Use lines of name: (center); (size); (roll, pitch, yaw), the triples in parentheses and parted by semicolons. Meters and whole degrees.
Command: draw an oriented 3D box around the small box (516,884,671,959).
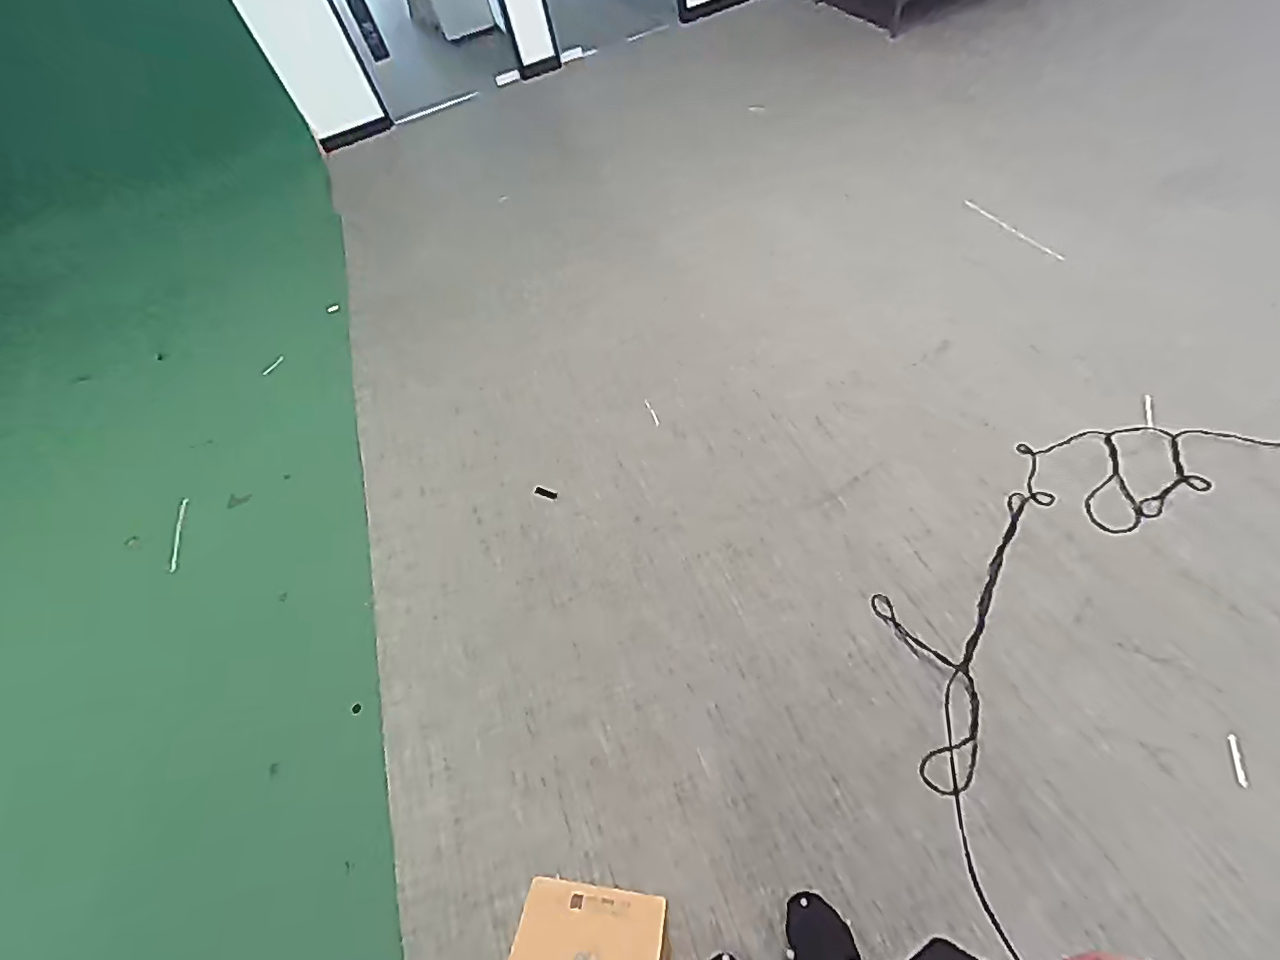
small box: (-0.056, 0.600, 0.612); (0.168, 0.179, 0.176); (2, 25, 9)
